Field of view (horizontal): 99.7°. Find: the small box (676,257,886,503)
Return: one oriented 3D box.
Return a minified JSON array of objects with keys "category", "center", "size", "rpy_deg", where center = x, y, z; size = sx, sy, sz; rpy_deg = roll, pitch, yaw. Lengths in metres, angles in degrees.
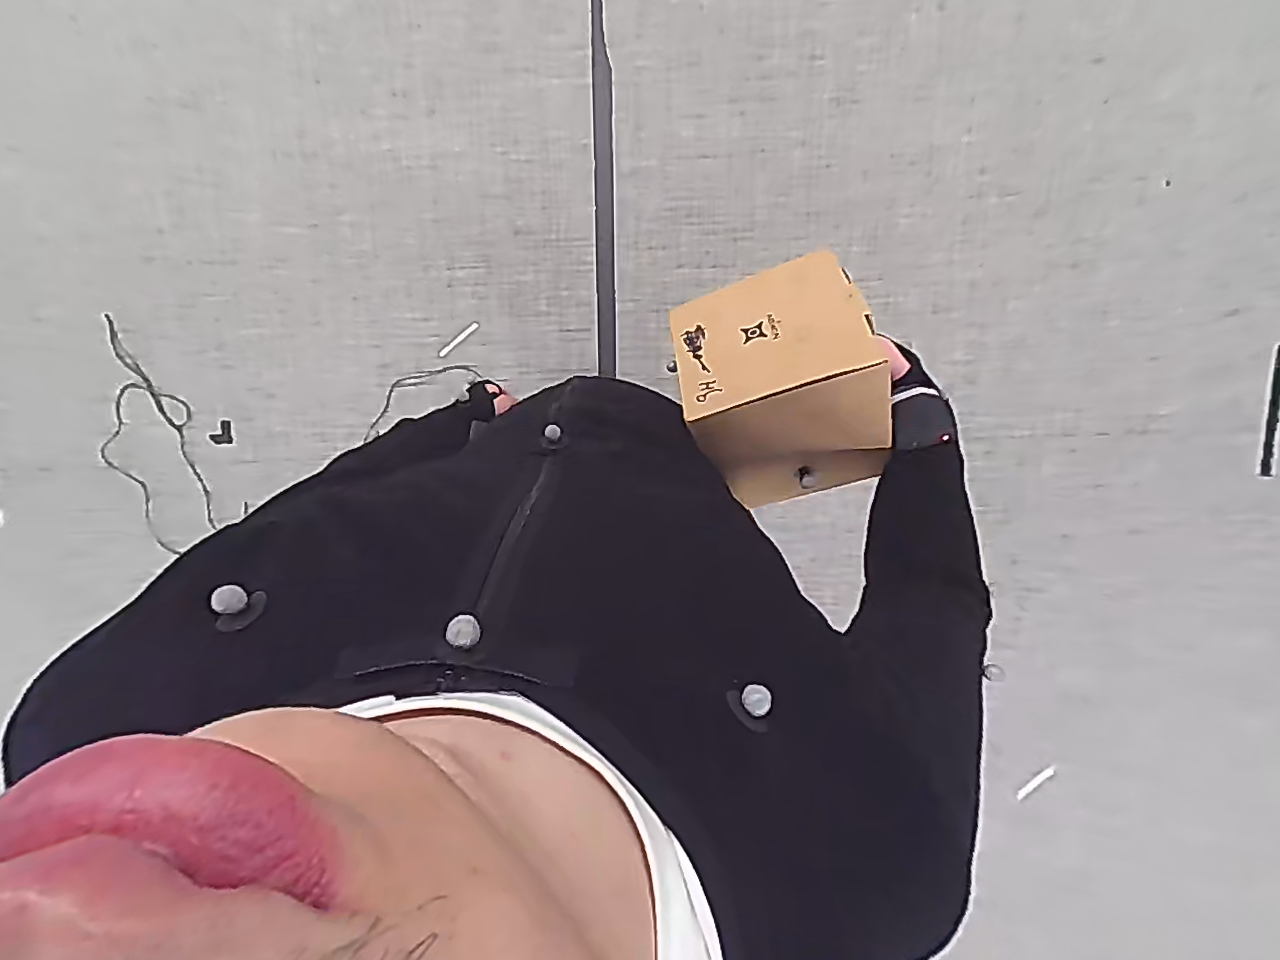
[{"category":"small box","center":[0.151,-0.098,0.585],"size":[0.179,0.168,0.176],"rpy_deg":[-15,141,15]}]
